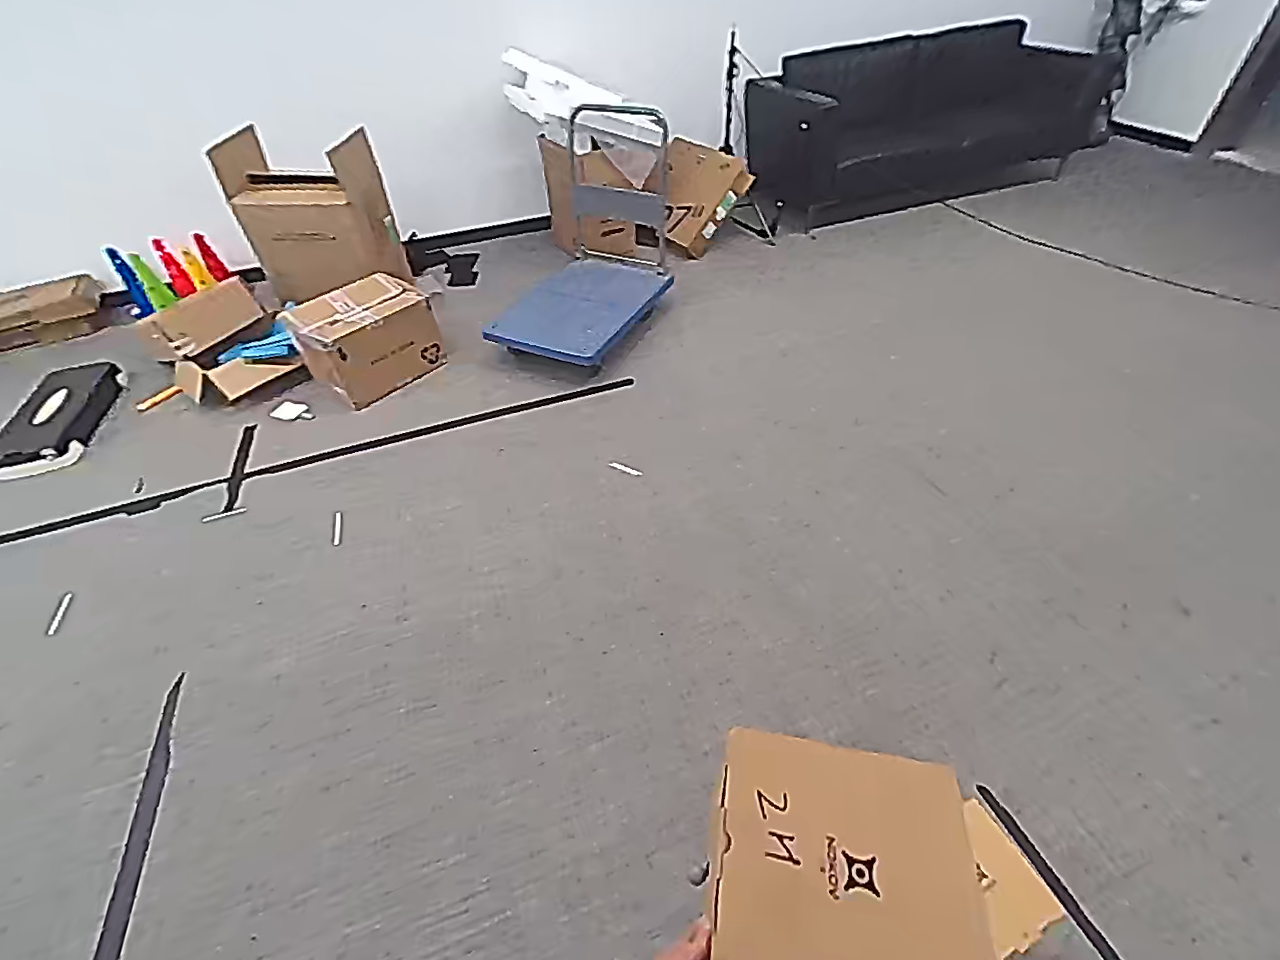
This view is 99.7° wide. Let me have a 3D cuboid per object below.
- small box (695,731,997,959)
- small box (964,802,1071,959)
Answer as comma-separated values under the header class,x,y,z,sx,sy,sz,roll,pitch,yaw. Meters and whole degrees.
class,x,y,z,sx,sy,sz,roll,pitch,yaw
small box,0.141,0.326,0.420,0.179,0.176,0.168,7,43,8
small box,0.542,0.685,0.901,0.168,0.176,0.179,-20,47,-16
